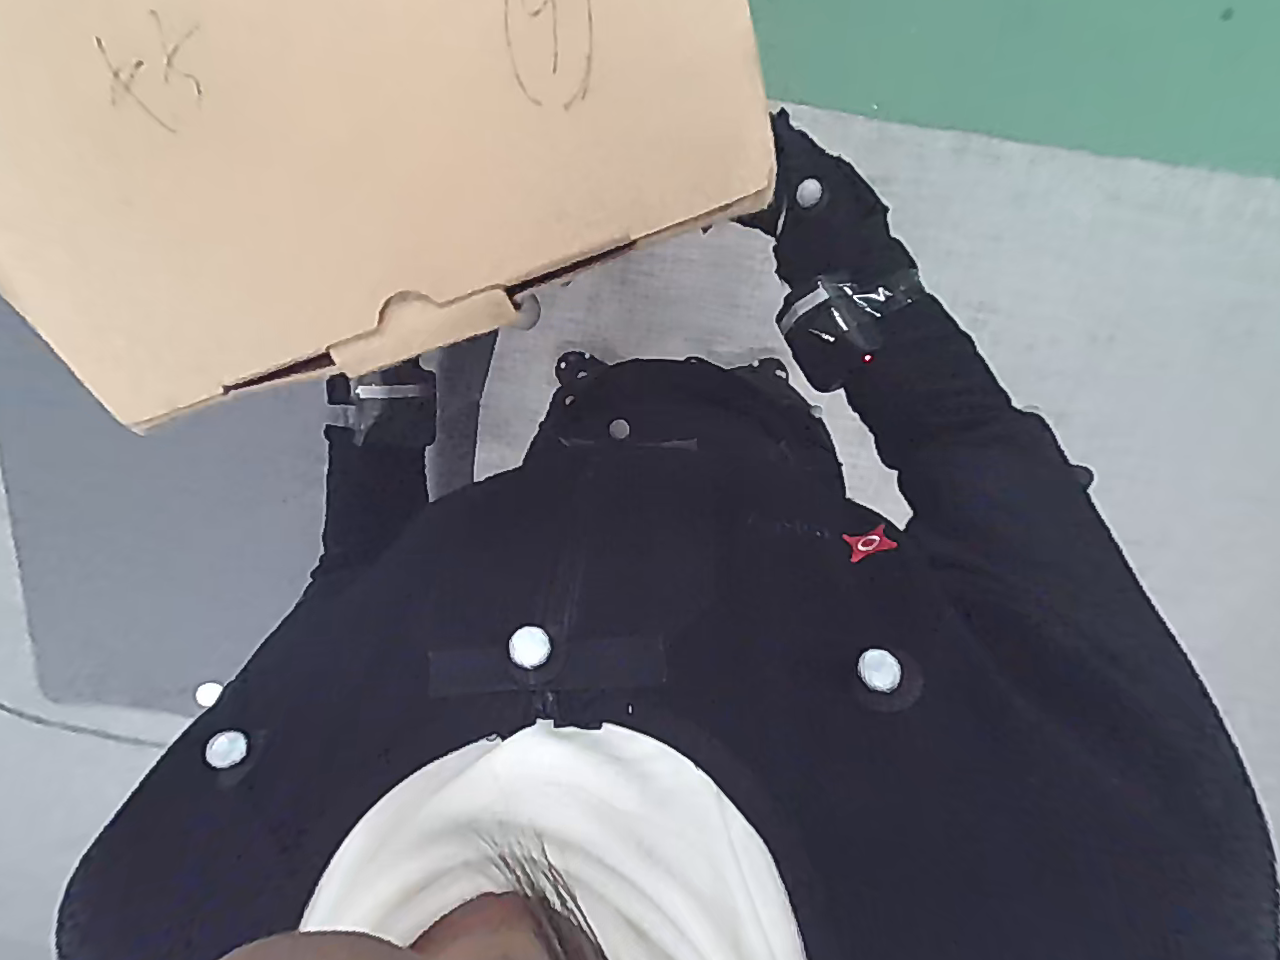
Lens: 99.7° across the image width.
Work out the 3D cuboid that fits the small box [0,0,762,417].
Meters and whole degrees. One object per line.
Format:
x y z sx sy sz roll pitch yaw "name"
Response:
-0.072 -0.145 0.156 0.168 0.176 0.179 -15 116 10 "small box"
